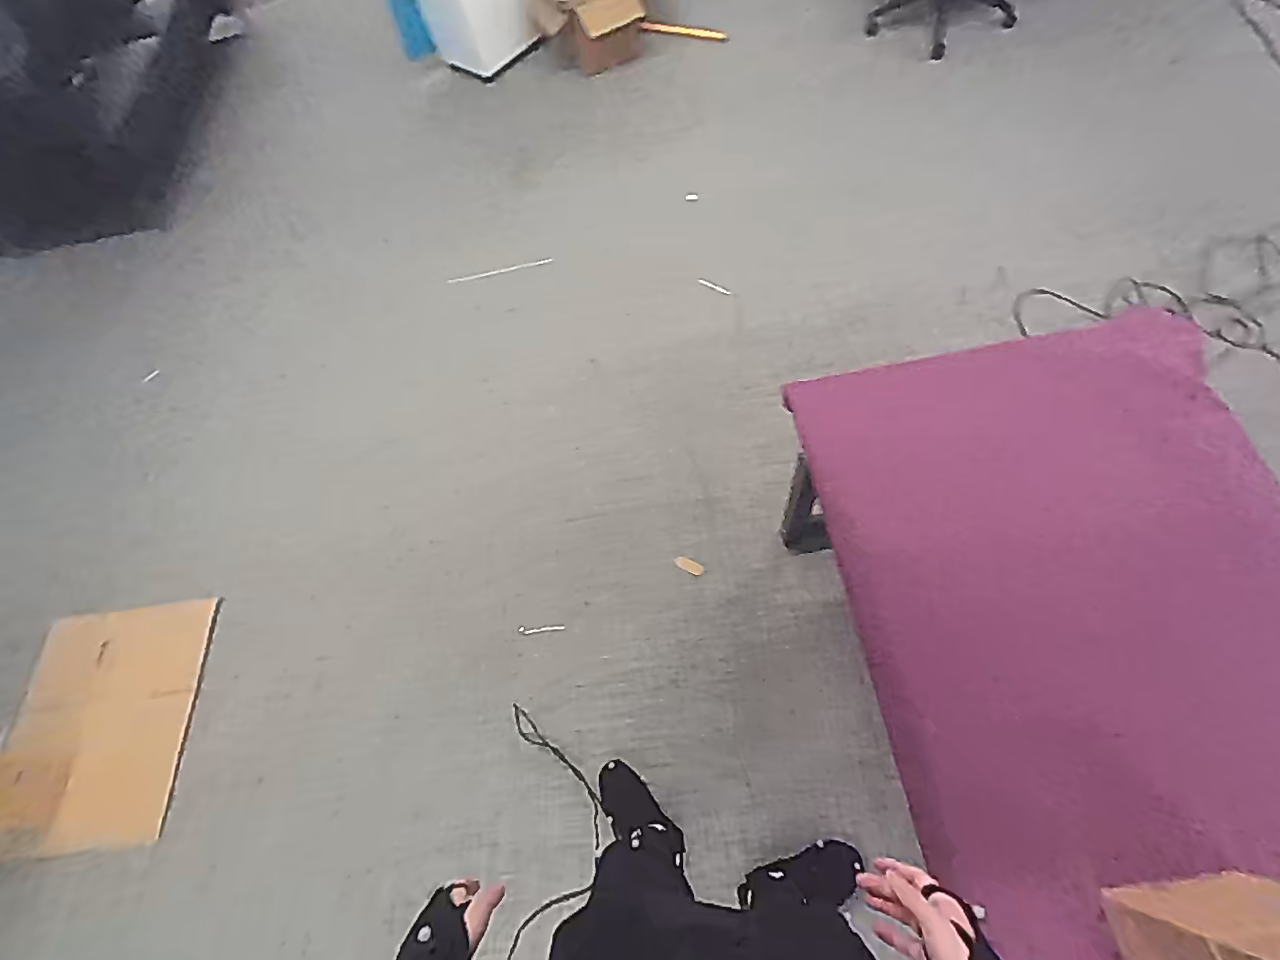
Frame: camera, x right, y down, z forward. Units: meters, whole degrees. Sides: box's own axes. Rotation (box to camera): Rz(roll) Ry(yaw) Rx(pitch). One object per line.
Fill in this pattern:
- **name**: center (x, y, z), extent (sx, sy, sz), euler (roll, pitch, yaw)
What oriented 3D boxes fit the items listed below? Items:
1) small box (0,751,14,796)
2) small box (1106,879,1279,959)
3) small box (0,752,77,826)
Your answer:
- **small box**: center (-1.783, 0.792, 1.378), extent (0.168, 0.176, 0.179), euler (-7, 64, 5)
- **small box**: center (0.613, 0.512, 0.512), extent (0.168, 0.176, 0.179), euler (-10, 64, 4)
- **small box**: center (-1.760, 0.868, 1.518), extent (0.168, 0.176, 0.179), euler (-7, 63, 6)
